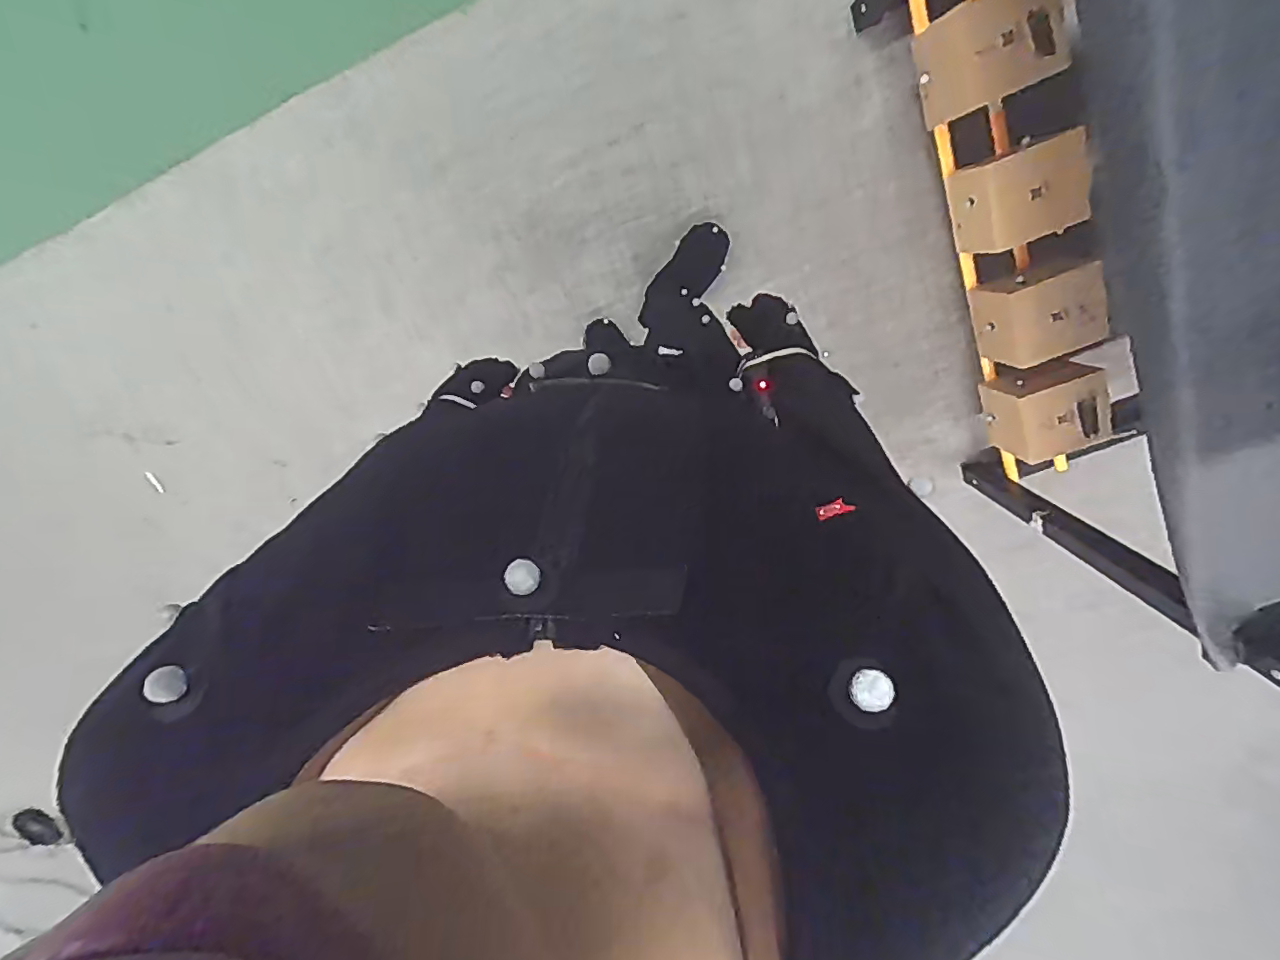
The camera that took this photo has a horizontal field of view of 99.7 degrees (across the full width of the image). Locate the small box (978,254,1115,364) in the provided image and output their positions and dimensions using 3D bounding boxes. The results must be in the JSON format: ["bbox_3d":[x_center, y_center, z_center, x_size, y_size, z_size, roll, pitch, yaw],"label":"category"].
[{"bbox_3d":[0.860,-0.367,1.163,0.179,0.176,0.168,-21,109,10],"label":"small box"}]

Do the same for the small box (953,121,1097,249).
[{"bbox_3d":[0.758,-0.578,1.085,0.179,0.176,0.168,-20,110,10],"label":"small box"}]
